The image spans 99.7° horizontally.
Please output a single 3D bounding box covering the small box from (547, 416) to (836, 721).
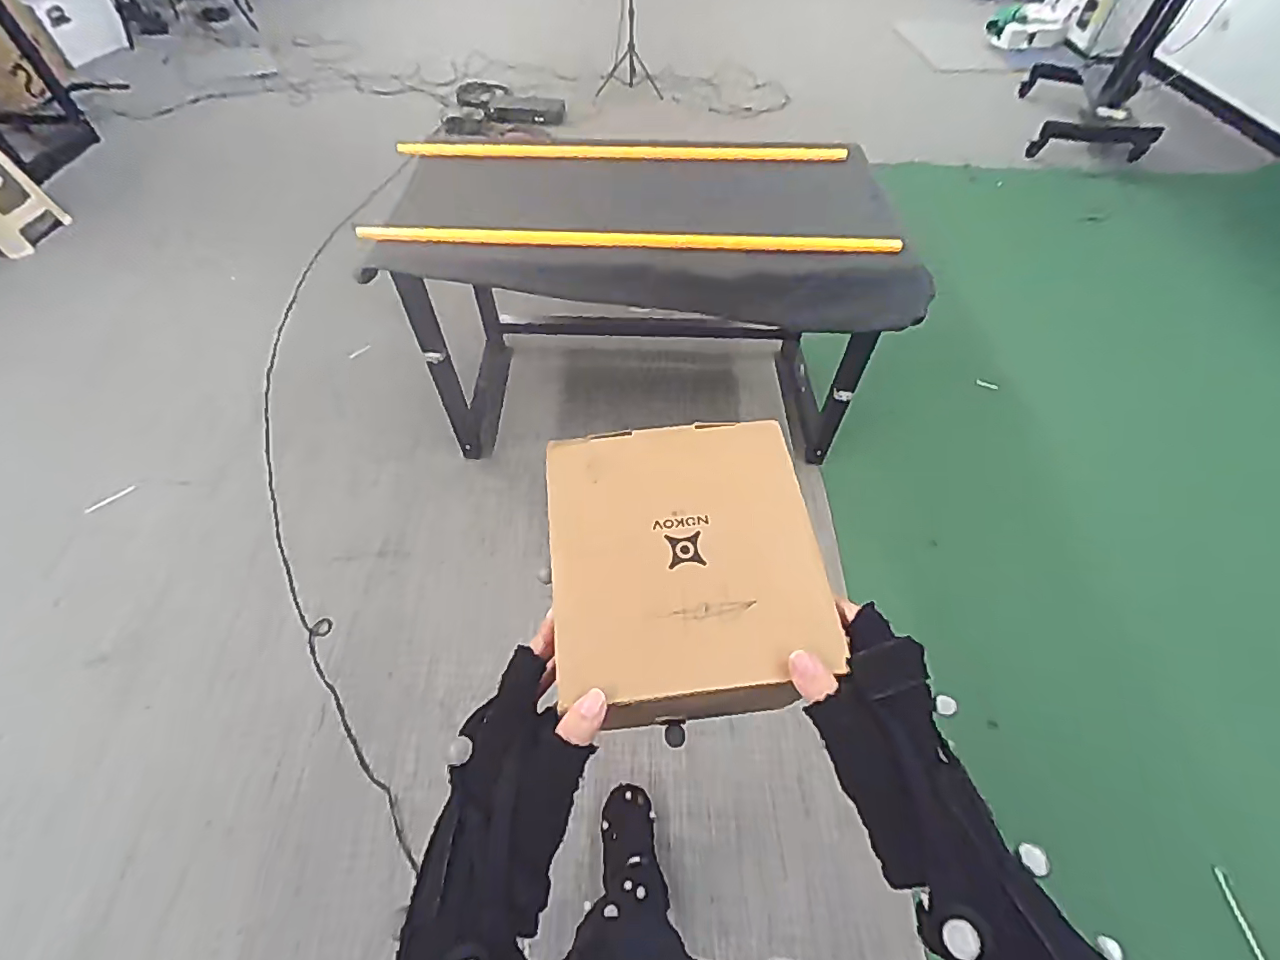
[{"bbox_3d":[0.021,0.074,0.413,0.168,0.176,0.179,-5,61,-4],"label":"small box"}]
